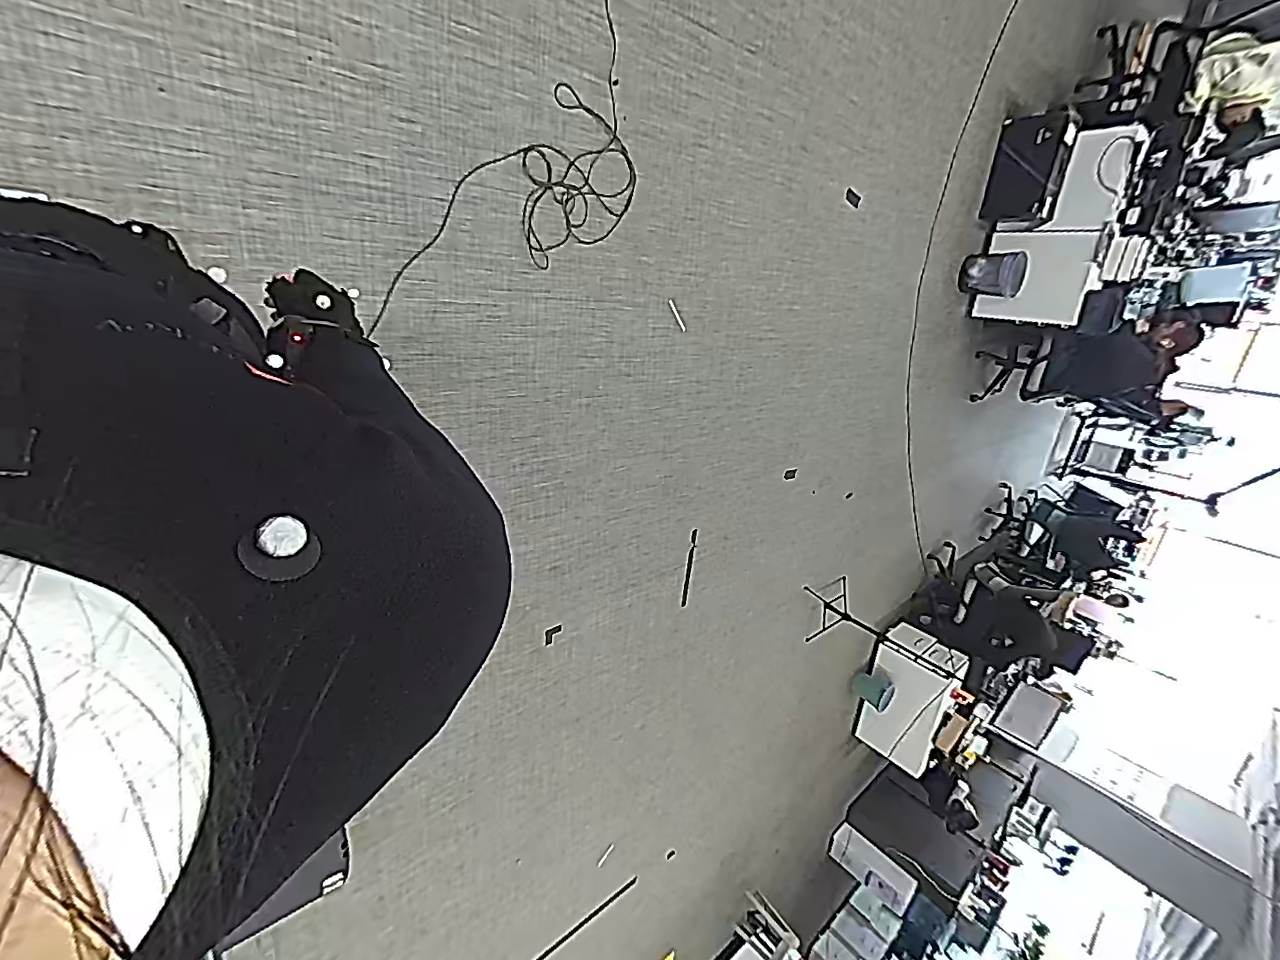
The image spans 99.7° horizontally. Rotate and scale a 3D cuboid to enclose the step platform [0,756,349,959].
[{"bbox_3d":[-1.130,1.018,1.377,0.684,0.204,0.286,-13,117,-38],"label":"step platform"}]
